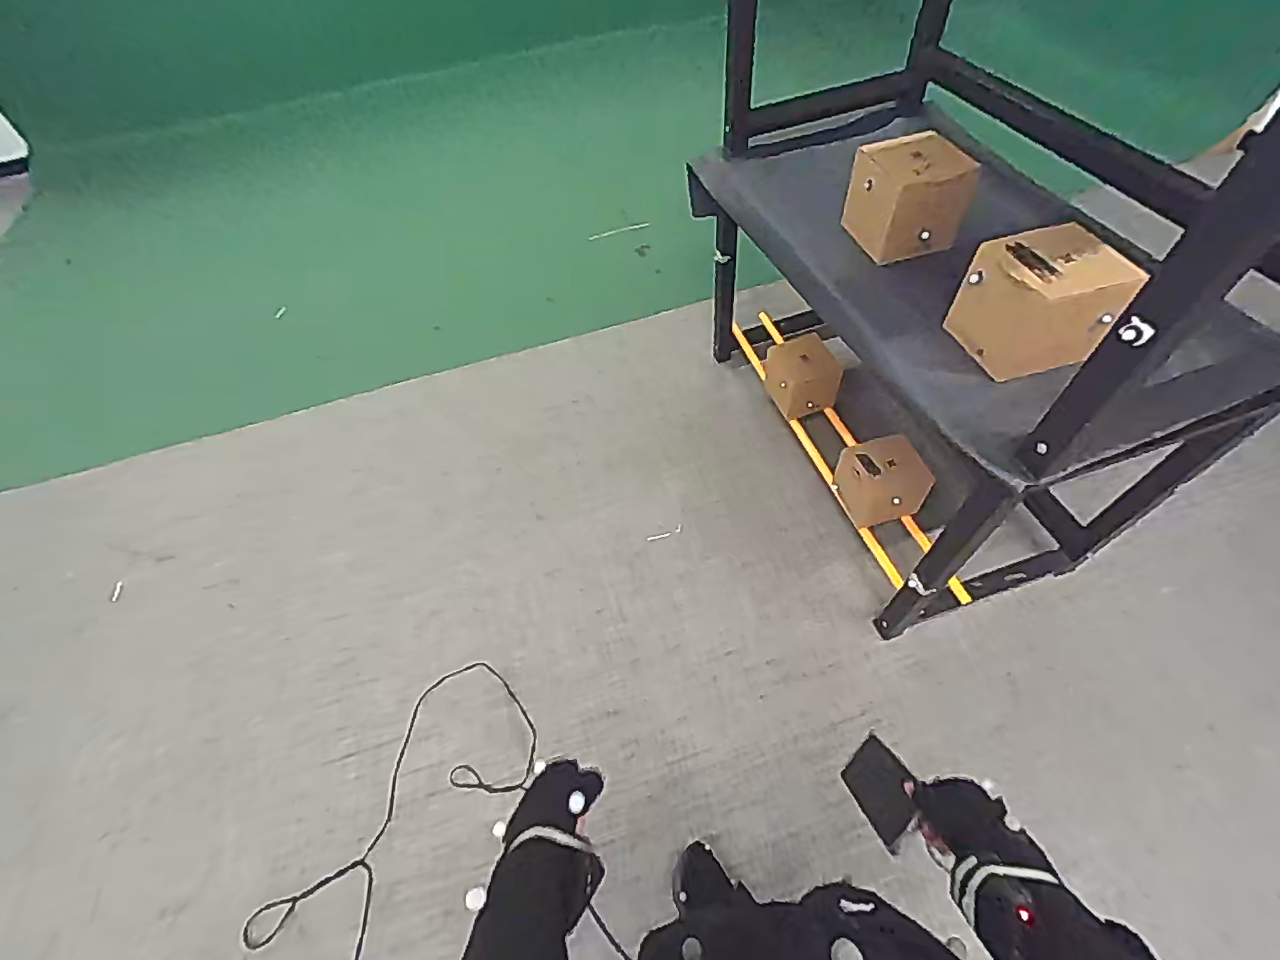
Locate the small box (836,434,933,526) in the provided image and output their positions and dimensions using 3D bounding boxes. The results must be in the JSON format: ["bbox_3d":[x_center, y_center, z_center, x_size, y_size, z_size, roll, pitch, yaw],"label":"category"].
[{"bbox_3d":[0.650,0.005,1.469,0.179,0.176,0.168,-15,55,-4],"label":"small box"}]

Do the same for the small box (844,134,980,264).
[{"bbox_3d":[0.552,-0.584,1.128,0.168,0.176,0.179,-15,55,-4],"label":"small box"}]
